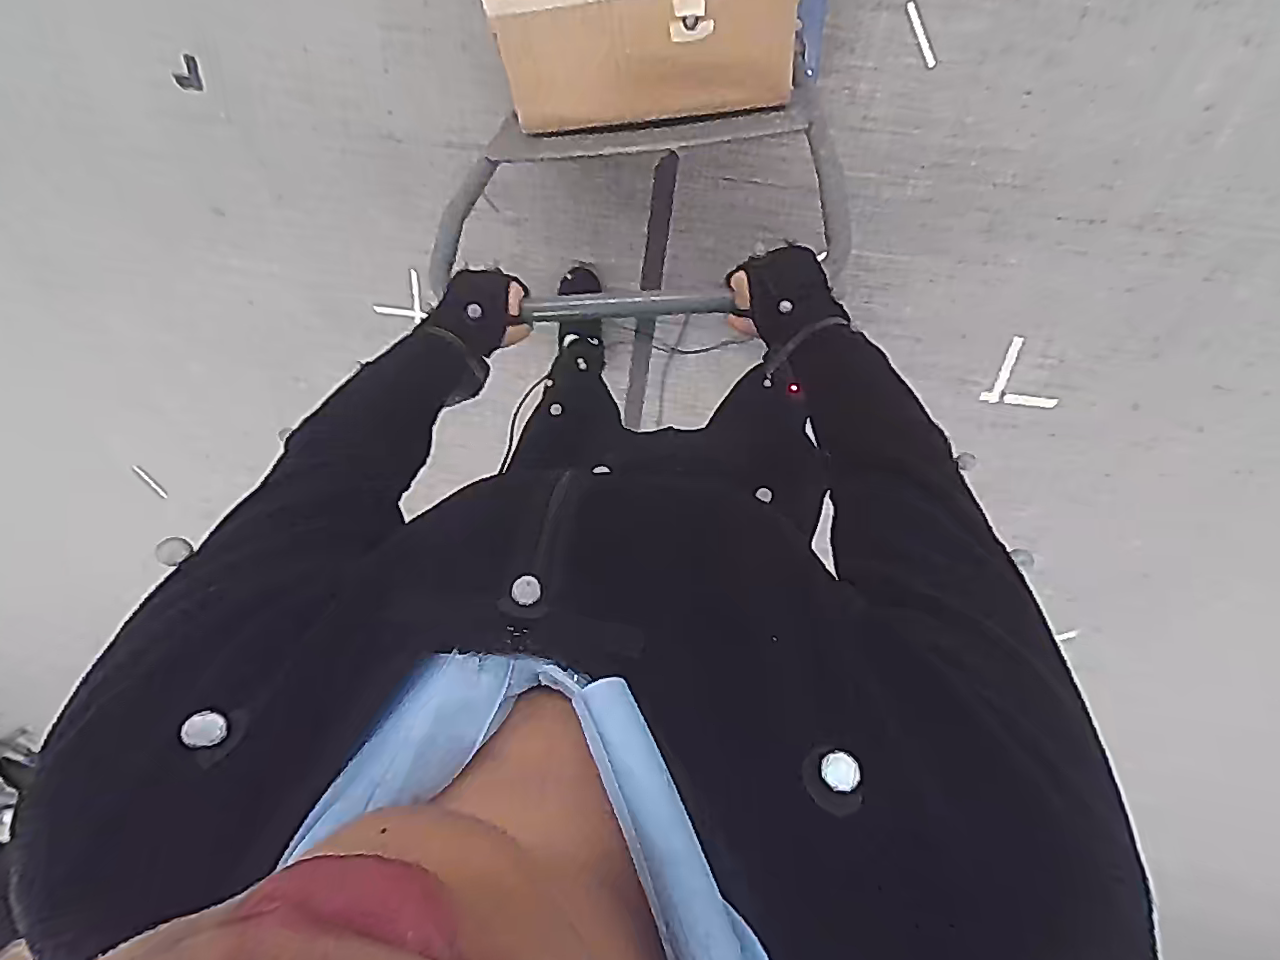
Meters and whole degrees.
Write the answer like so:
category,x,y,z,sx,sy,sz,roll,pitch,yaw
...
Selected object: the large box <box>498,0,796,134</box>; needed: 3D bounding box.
category,x,y,z,sx,sy,sz,roll,pitch,yaw
large box,0.013,-0.761,0.804,0.408,0.320,0.320,-2,138,9
